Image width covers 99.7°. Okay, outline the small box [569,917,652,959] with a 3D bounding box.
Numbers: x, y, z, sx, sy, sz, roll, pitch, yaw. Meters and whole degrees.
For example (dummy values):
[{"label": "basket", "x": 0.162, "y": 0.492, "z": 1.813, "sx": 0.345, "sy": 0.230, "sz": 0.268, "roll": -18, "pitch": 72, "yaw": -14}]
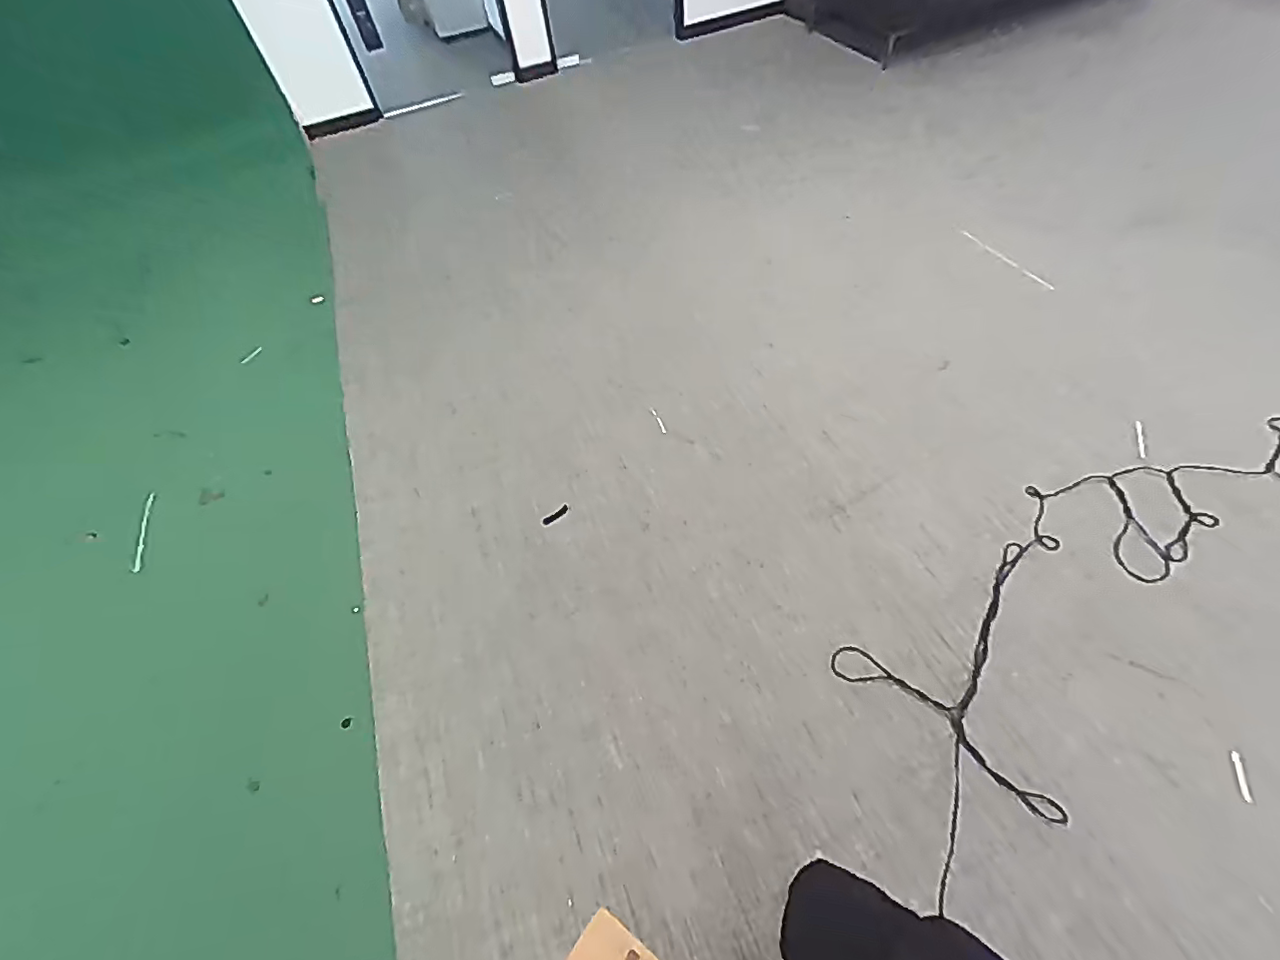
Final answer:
[{"label": "small box", "x": -0.046, "y": 0.646, "z": 0.593, "sx": 0.168, "sy": 0.179, "sz": 0.176, "roll": 30, "pitch": 26, "yaw": 20}]
